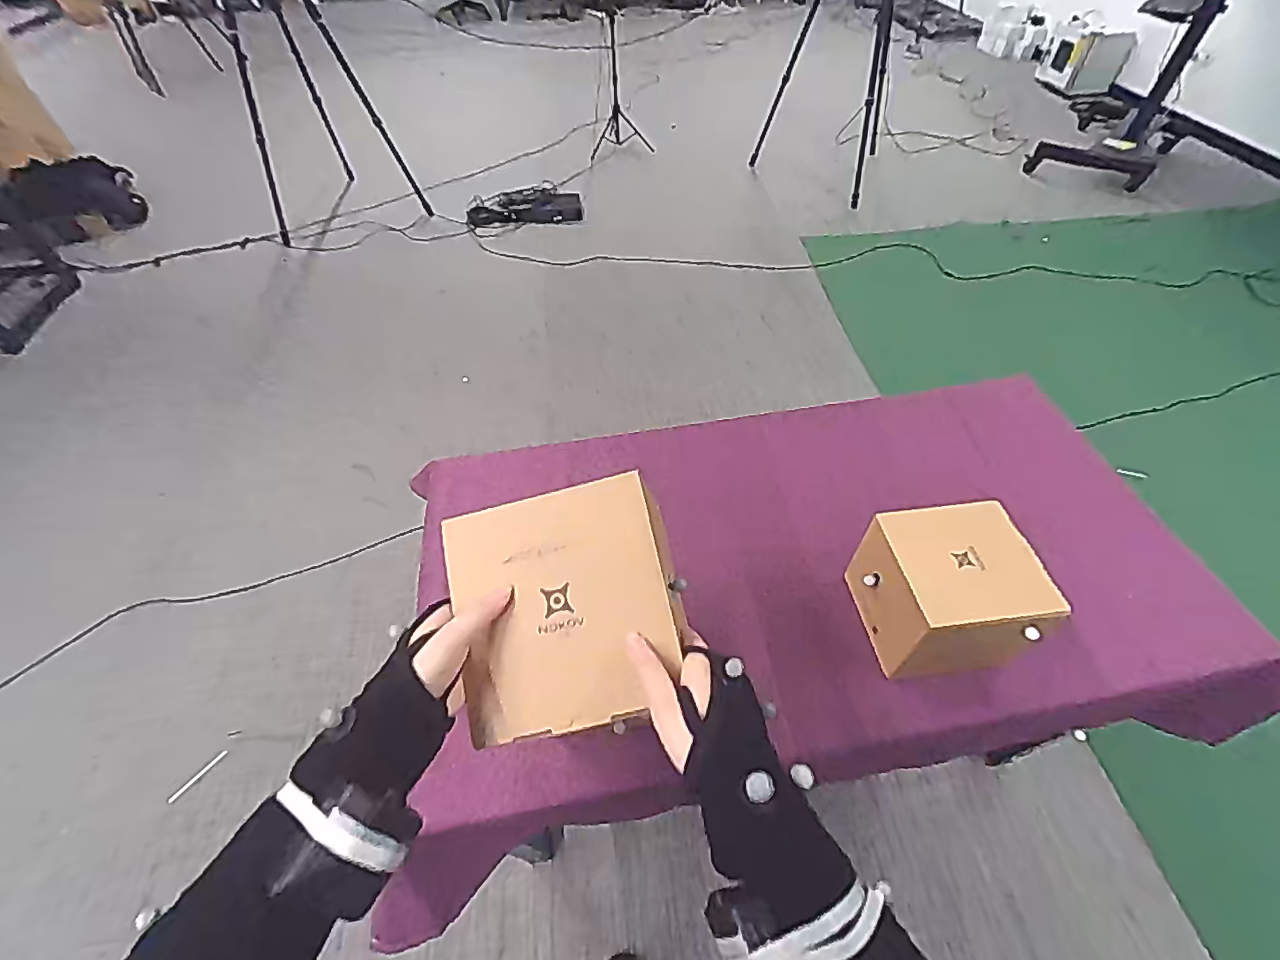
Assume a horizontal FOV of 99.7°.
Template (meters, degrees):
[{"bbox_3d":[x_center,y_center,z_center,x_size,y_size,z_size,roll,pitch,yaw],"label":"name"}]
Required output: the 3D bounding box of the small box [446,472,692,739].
[{"bbox_3d":[-0.052,0.110,0.487,0.168,0.176,0.179,-13,74,4],"label":"small box"}]

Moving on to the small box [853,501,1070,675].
[{"bbox_3d":[0.408,0.151,0.733,0.179,0.176,0.168,-6,51,-3],"label":"small box"}]

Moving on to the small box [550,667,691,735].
[{"bbox_3d":[-0.039,0.214,0.698,0.179,0.176,0.168,-7,50,-4],"label":"small box"}]
